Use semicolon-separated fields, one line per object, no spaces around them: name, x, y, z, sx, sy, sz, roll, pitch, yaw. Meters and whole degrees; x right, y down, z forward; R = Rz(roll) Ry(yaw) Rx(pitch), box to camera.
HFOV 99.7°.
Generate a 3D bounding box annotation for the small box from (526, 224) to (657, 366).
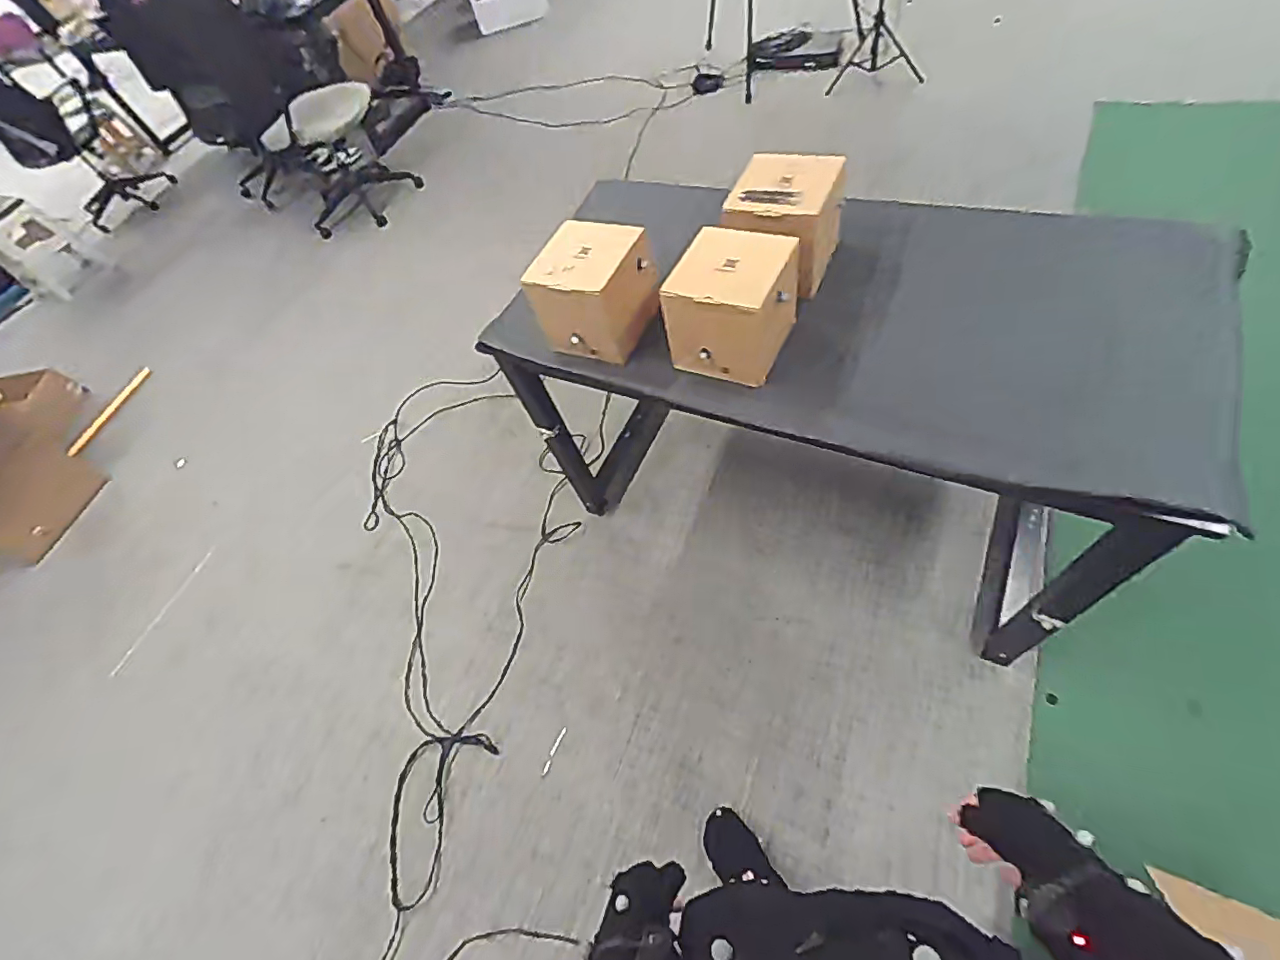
small box;-0.078;-0.345;1.011;0.168;0.176;0.179;16;64;23
